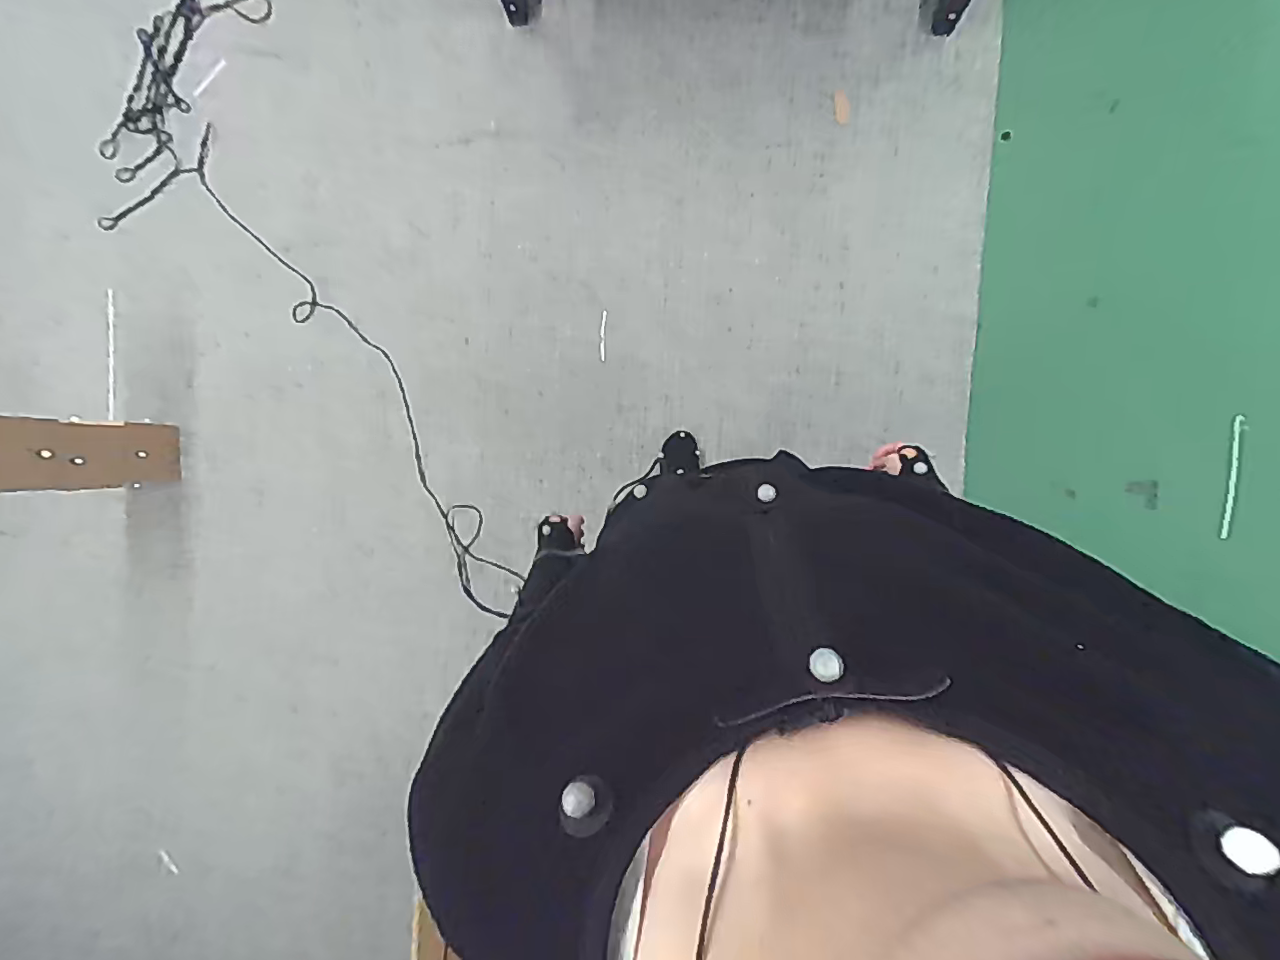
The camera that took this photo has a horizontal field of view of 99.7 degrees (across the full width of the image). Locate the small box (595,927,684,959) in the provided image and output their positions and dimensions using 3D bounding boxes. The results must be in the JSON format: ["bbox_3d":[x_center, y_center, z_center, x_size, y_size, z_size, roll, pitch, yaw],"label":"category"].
[{"bbox_3d":[-0.013,1.012,1.036,0.179,0.176,0.168,6,92,6],"label":"small box"}]

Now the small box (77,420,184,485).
[{"bbox_3d":[-1.481,-0.078,1.578,0.168,0.176,0.179,2,92,5],"label":"small box"}]

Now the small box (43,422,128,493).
[{"bbox_3d":[-1.497,-0.063,1.416,0.168,0.176,0.179,3,92,4],"label":"small box"}]

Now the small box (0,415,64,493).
[{"bbox_3d":[-1.497,-0.061,1.252,0.168,0.176,0.179,1,92,5],"label":"small box"}]
